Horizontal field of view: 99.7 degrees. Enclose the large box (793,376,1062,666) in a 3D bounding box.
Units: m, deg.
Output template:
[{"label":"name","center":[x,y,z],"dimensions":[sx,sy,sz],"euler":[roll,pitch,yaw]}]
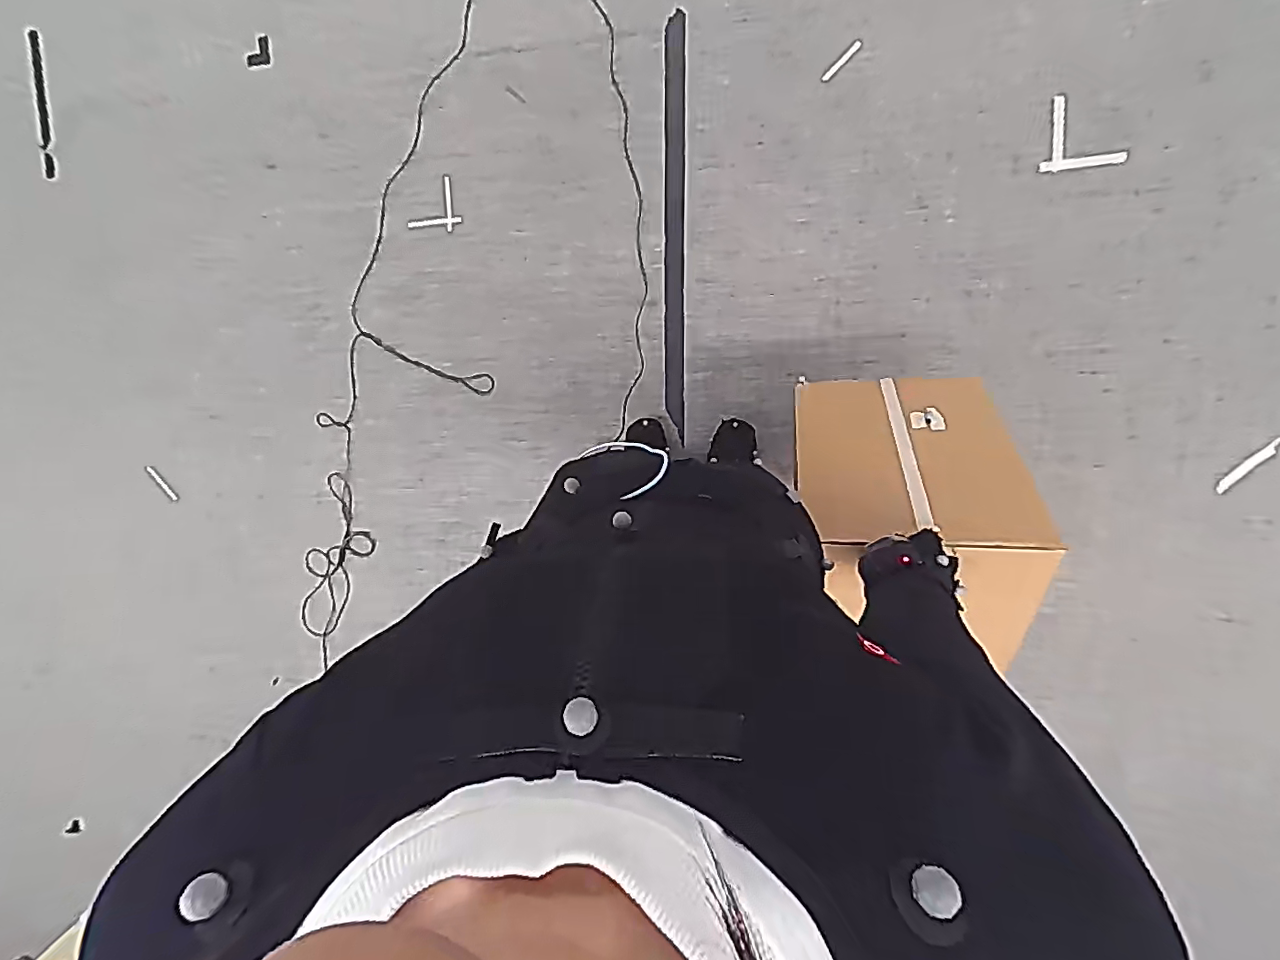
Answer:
[{"label":"large box","center":[0.434,0.062,0.939],"dimensions":[0.320,0.408,0.320],"euler":[0,131,14]}]
